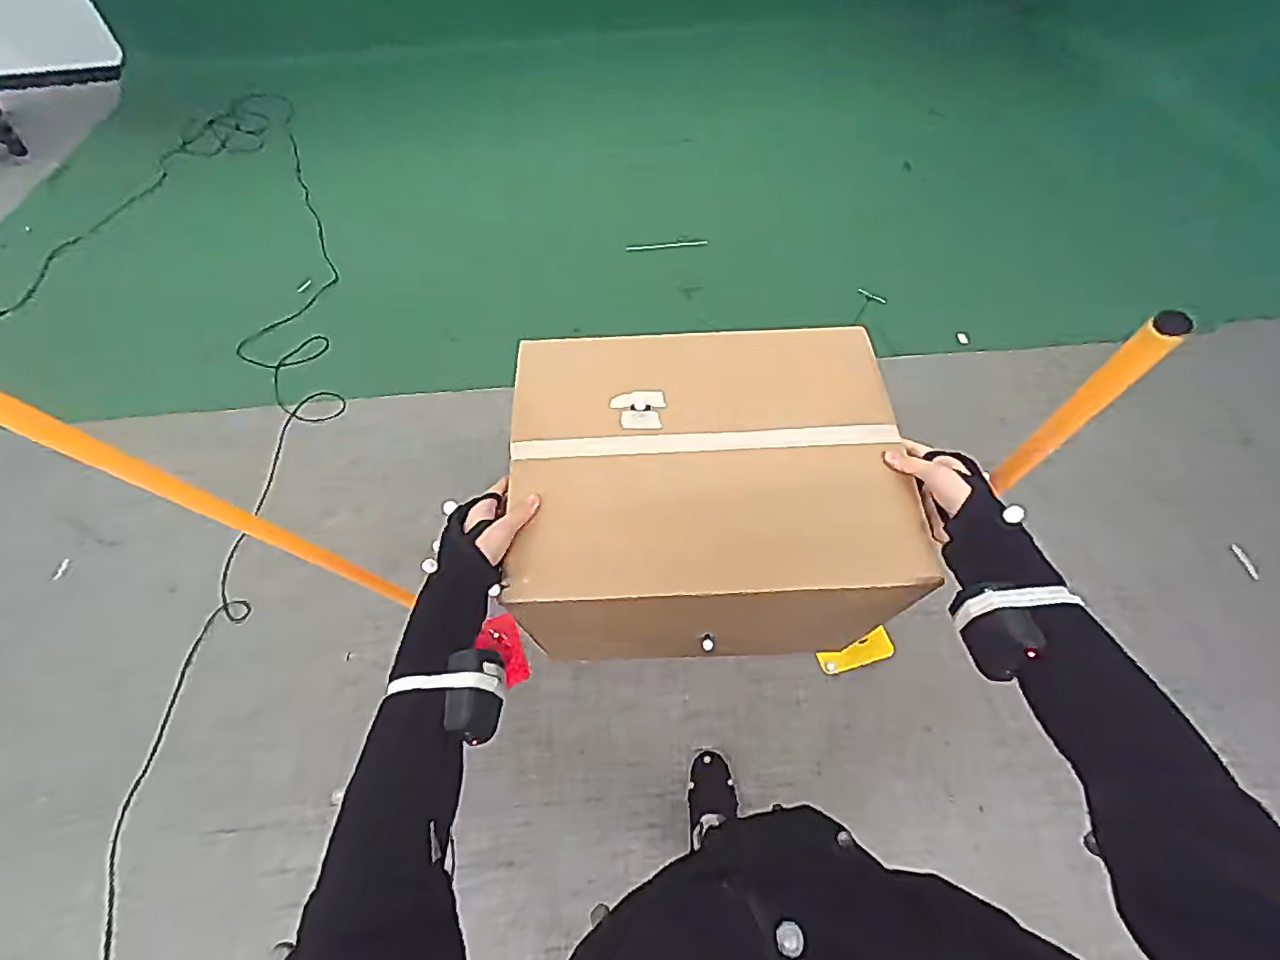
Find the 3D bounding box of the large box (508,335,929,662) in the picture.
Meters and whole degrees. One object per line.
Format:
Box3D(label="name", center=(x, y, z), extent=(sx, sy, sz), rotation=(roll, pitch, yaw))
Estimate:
Box3D(label="large box", center=(0.073, 0.045, 0.704), extent=(0.408, 0.320, 0.320), rotation=(-4, 61, 1))
